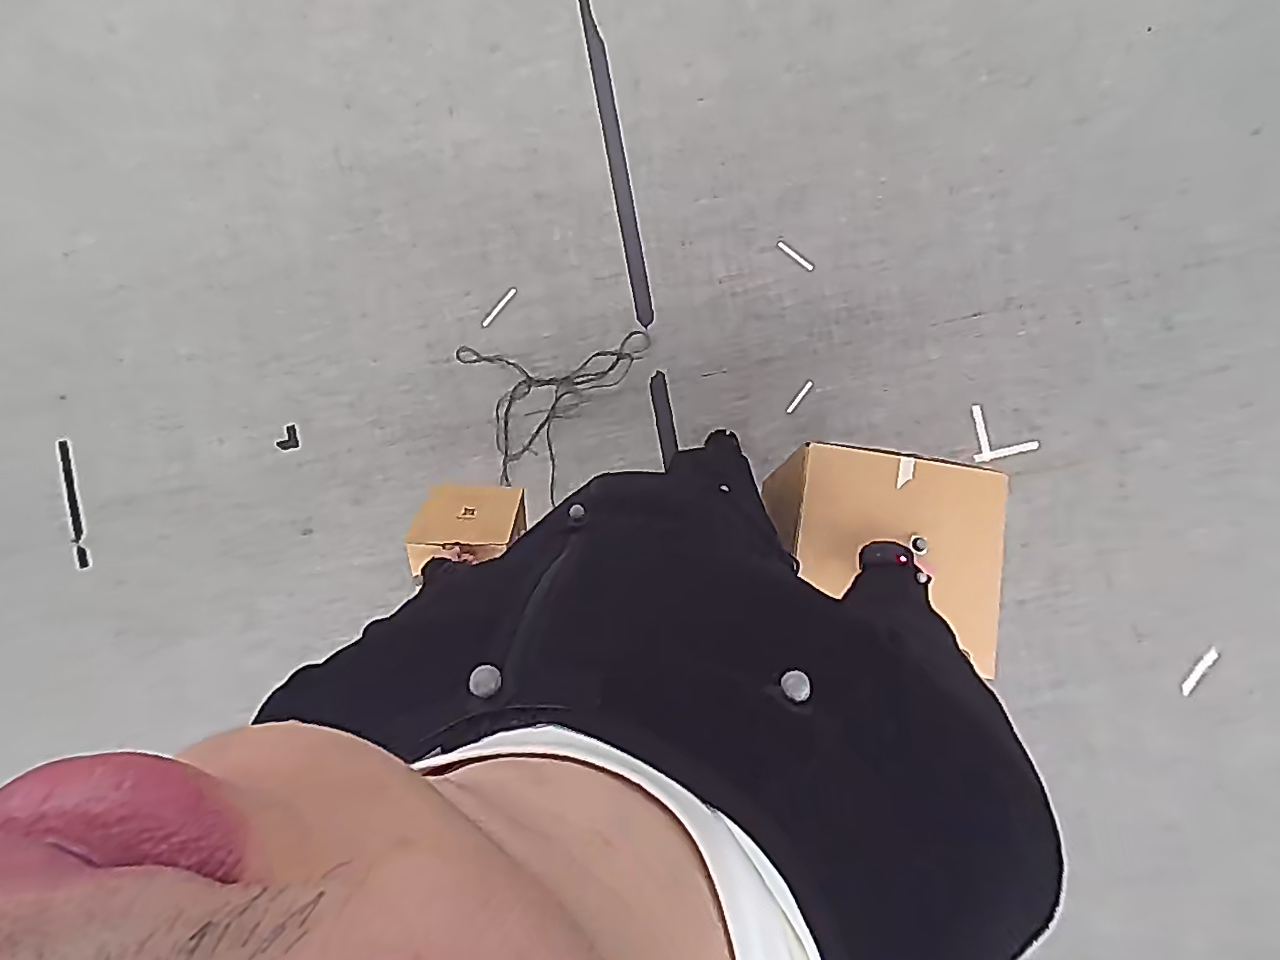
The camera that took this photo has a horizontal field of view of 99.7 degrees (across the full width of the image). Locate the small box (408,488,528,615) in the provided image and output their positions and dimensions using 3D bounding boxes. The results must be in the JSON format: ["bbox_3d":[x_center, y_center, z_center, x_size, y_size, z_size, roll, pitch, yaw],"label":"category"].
[{"bbox_3d":[-0.302,0.131,0.991,0.168,0.179,0.176,1,122,-3],"label":"small box"}]
